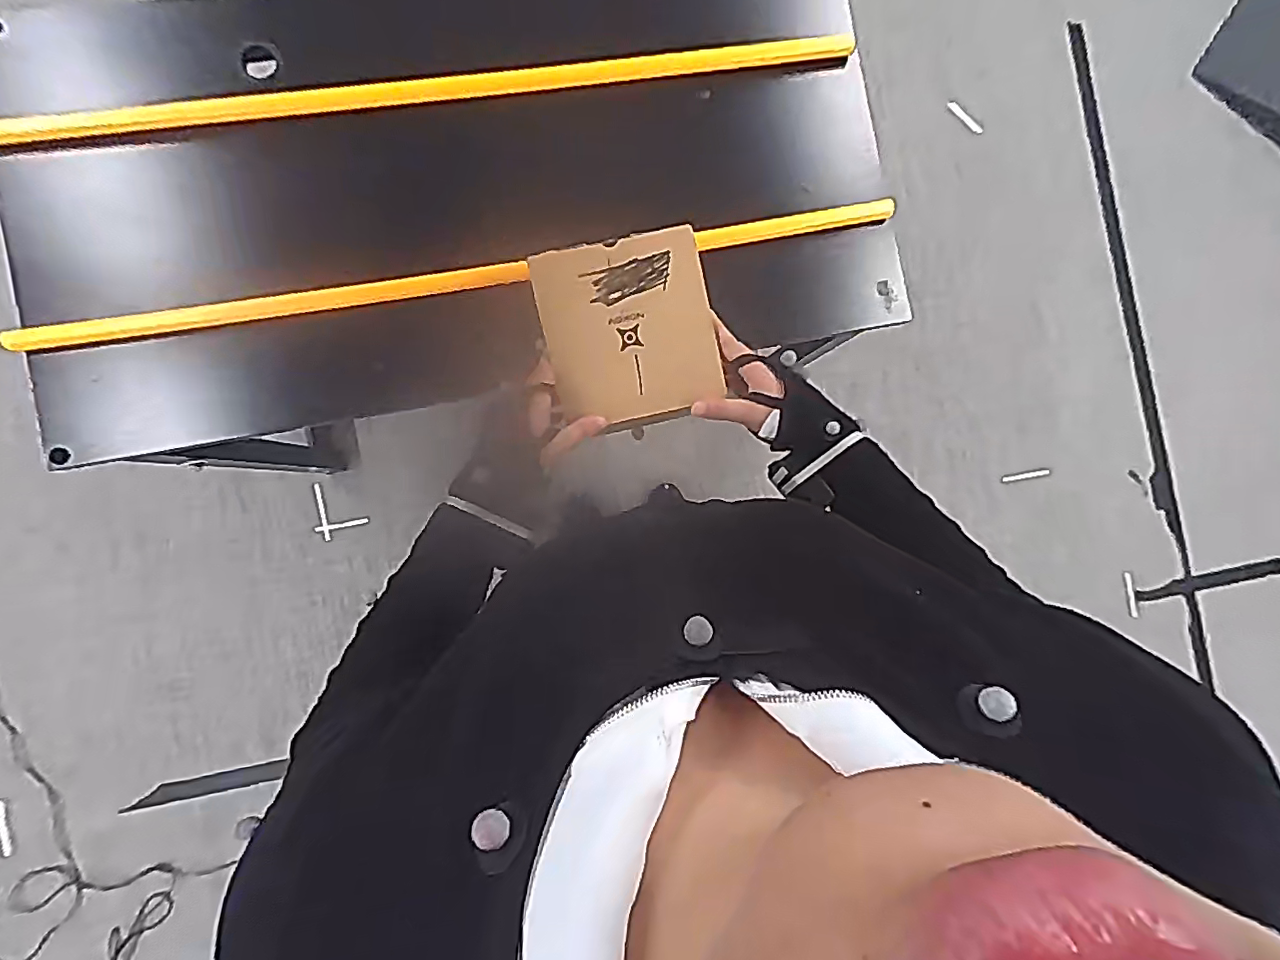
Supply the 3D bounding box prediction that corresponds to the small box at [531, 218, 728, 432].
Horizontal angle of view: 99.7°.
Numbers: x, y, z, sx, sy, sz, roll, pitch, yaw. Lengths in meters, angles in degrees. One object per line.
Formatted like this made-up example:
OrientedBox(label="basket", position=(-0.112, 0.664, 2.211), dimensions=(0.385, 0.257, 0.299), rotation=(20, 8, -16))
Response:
OrientedBox(label="small box", position=(-0.015, -0.158, 0.607), dimensions=(0.168, 0.176, 0.179), rotation=(-13, 93, -3))
